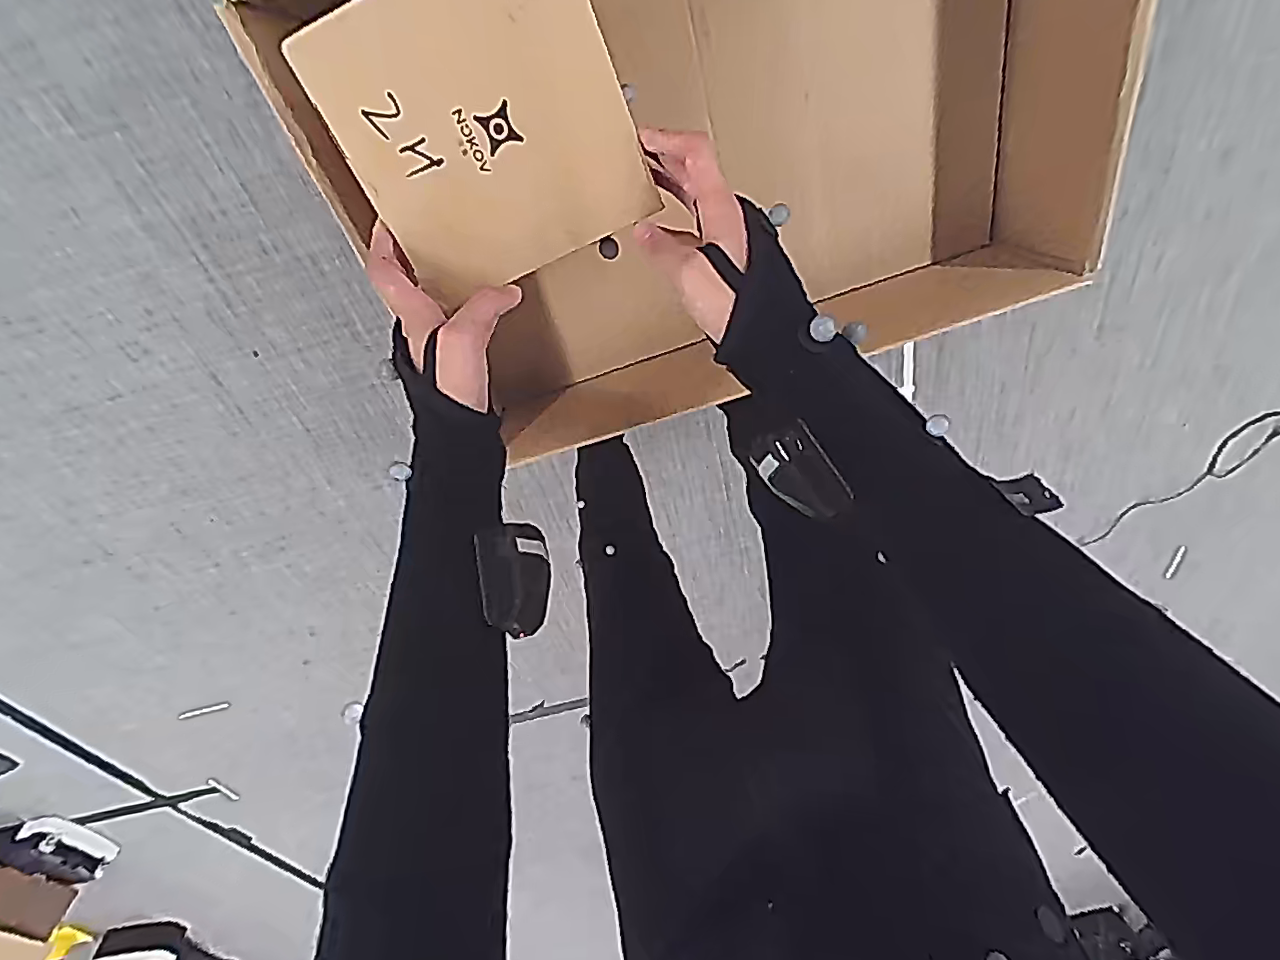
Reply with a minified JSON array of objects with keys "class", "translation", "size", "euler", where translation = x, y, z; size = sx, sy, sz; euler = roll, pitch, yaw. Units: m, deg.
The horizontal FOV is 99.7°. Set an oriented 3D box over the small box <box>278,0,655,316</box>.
[{"class":"small box","translation":[-0.106,-0.247,0.403],"size":[0.179,0.176,0.168],"euler":[-22,117,6]}]
